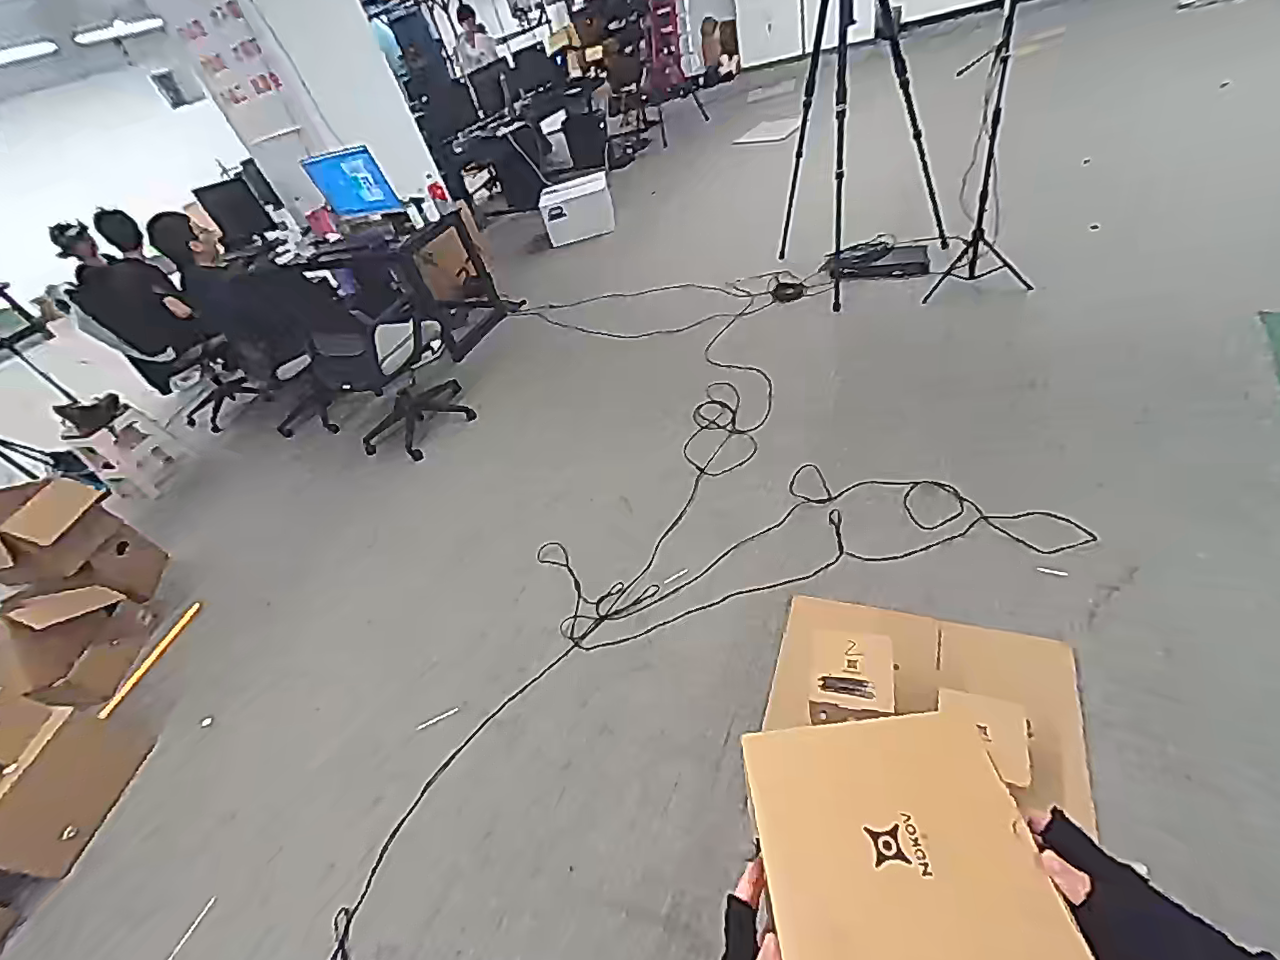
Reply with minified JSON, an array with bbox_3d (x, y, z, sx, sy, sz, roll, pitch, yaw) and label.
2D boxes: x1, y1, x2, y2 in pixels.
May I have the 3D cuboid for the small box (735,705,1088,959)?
[{"bbox_3d":[0.175,0.297,0.410,0.179,0.176,0.168,-8,42,3],"label":"small box"}]

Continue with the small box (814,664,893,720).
[{"bbox_3d":[0.515,0.574,1.299,0.168,0.176,0.179,2,46,24],"label":"small box"}]

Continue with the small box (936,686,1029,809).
[{"bbox_3d":[0.743,0.591,1.195,0.168,0.176,0.179,4,48,28],"label":"small box"}]
